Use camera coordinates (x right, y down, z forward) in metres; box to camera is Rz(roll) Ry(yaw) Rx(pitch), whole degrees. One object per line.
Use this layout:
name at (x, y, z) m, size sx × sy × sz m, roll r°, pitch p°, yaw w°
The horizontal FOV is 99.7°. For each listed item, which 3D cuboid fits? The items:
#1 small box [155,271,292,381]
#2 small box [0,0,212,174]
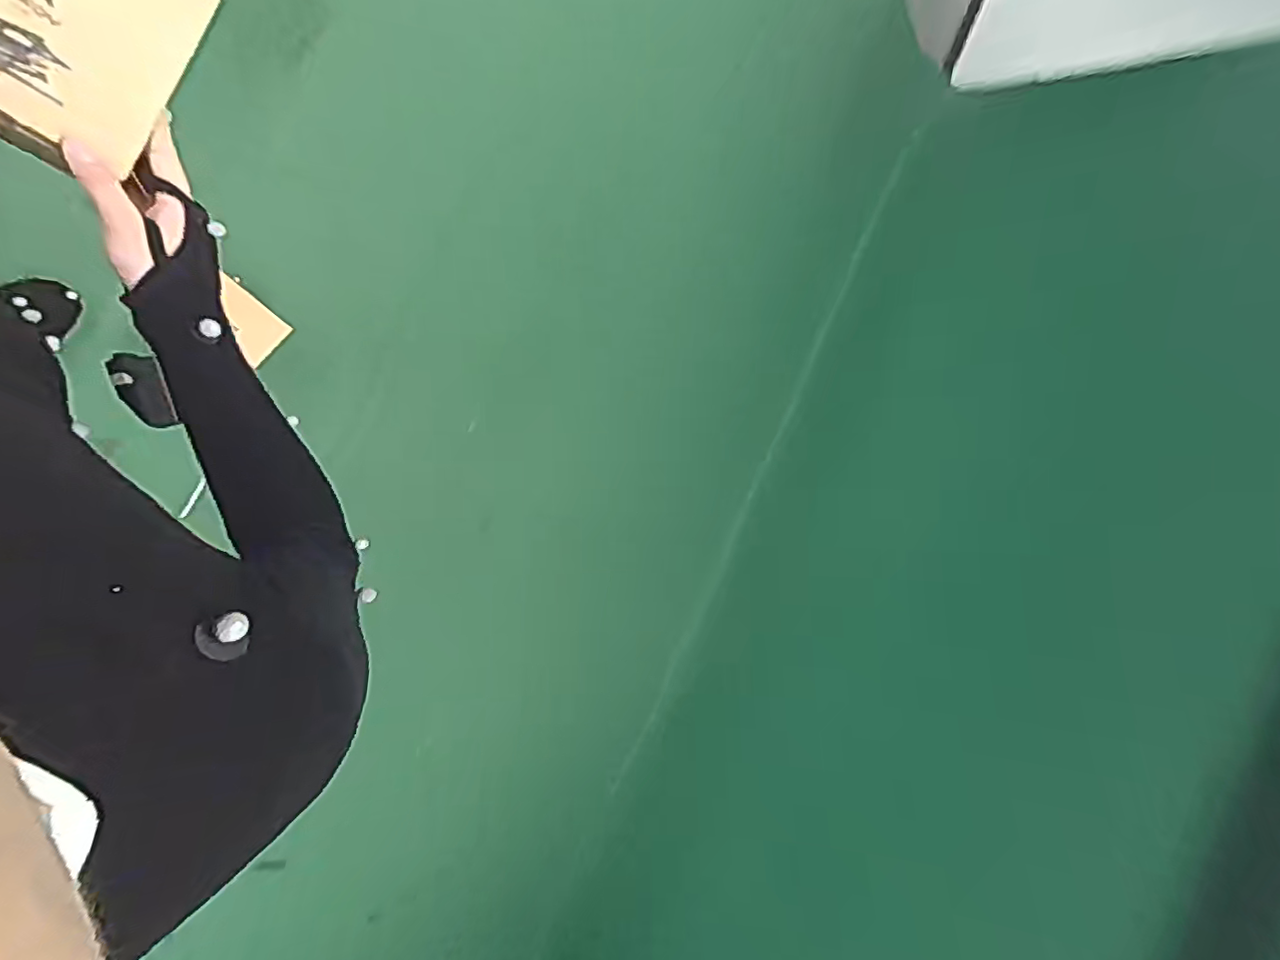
small box at (-0.937, -0.351, 1.217) m, size 0.168 × 0.176 × 0.179 m, roll -55°, pitch 136°, yaw -14°
small box at (-0.472, -0.361, 0.405) m, size 0.168 × 0.176 × 0.179 m, roll 27°, pitch 86°, yaw -56°
